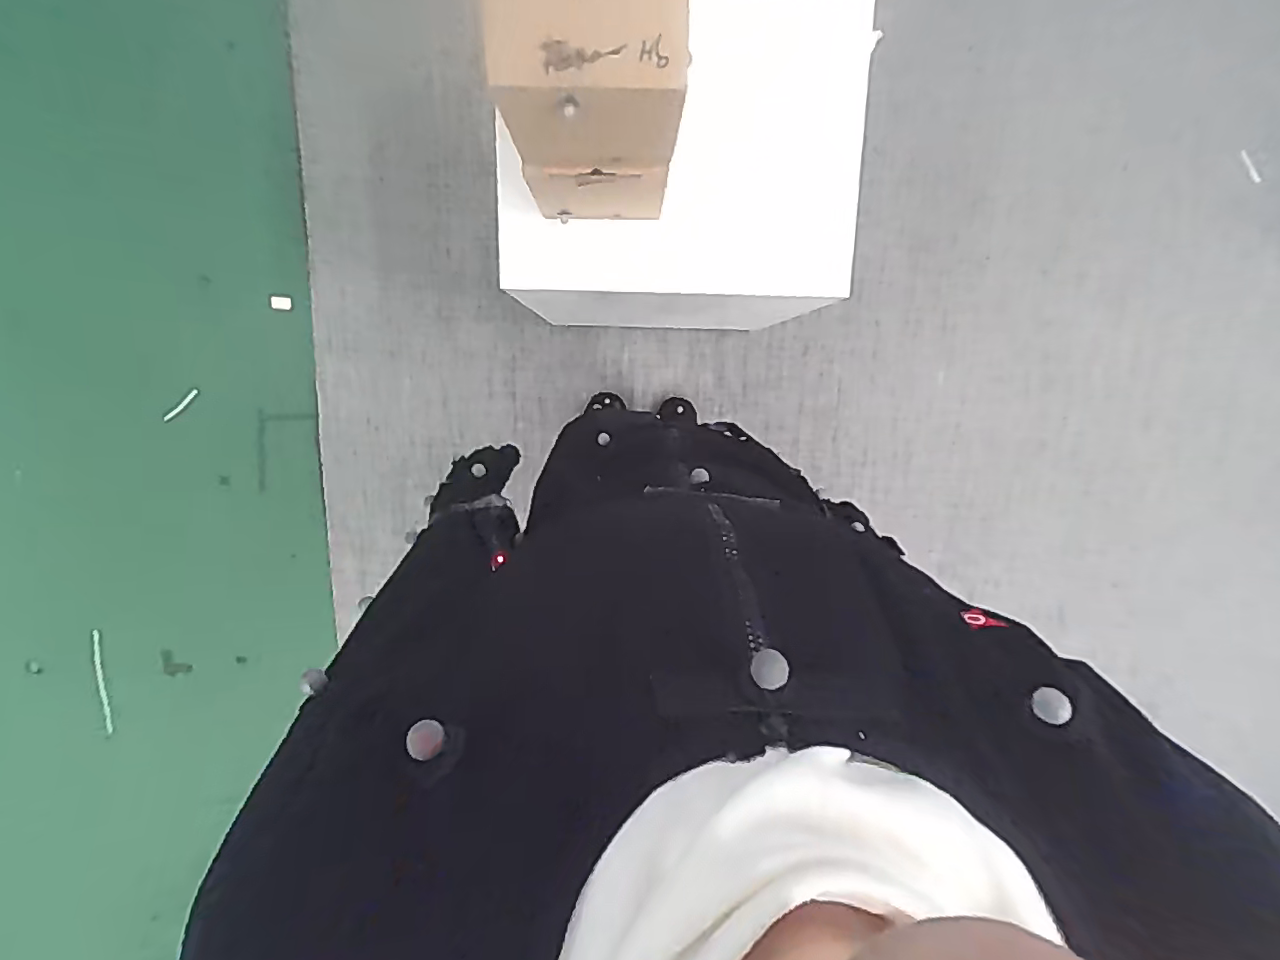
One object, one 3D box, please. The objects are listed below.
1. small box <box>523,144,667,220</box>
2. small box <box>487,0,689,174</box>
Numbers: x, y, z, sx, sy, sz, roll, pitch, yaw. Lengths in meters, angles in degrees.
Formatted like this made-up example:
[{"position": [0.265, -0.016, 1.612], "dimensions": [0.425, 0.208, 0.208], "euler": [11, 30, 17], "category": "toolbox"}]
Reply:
[{"position": [-0.050, -0.437, 0.674], "dimensions": [0.168, 0.176, 0.179], "euler": [0, 100, -1], "category": "small box"}, {"position": [-0.043, -0.419, 0.512], "dimensions": [0.168, 0.176, 0.179], "euler": [0, 100, 0], "category": "small box"}]
